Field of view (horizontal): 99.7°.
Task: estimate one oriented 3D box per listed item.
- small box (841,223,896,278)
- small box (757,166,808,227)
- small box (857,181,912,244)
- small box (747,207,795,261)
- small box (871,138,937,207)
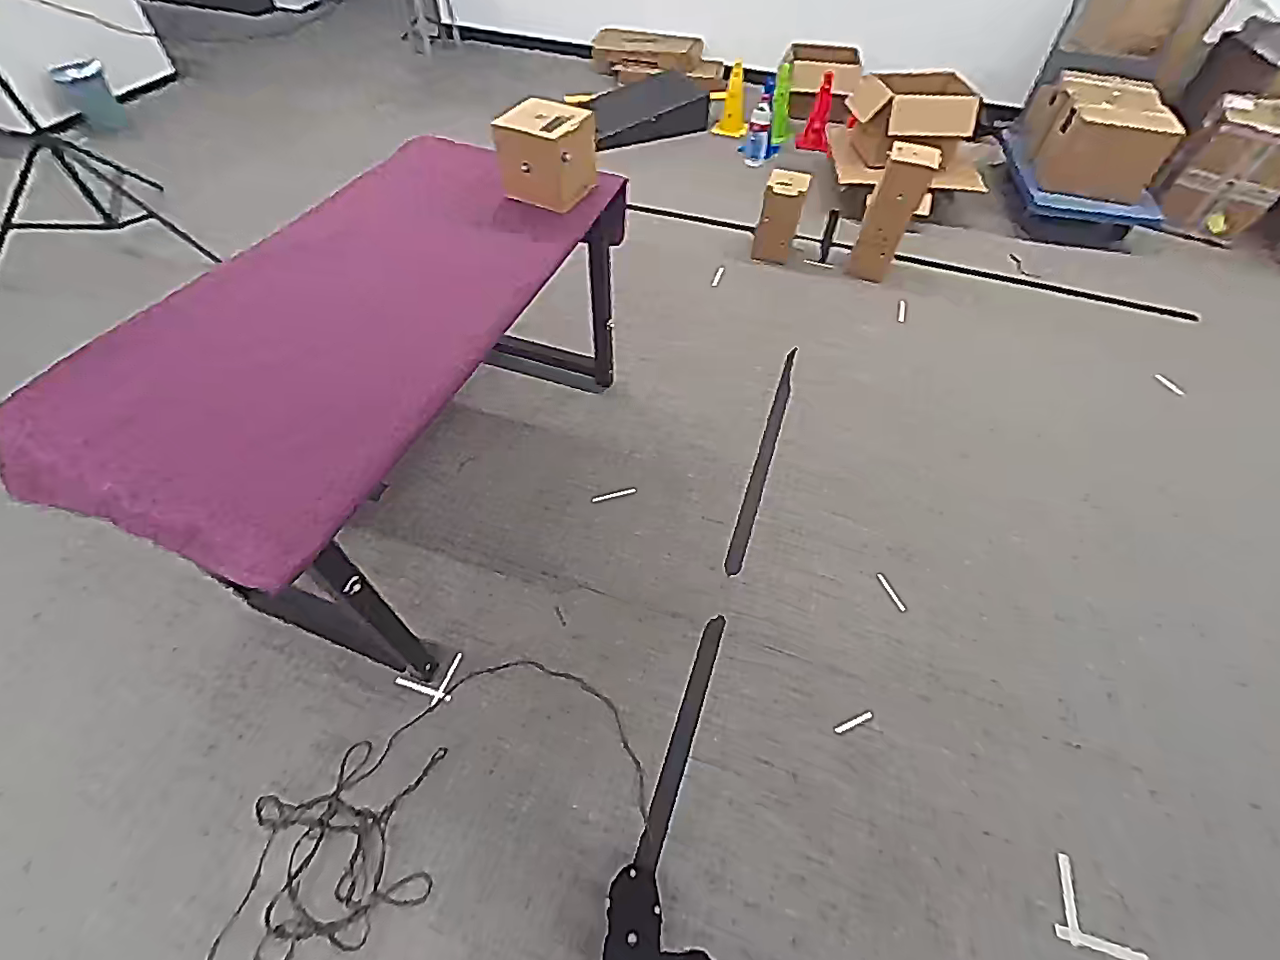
[{"bbox_3d":[1.025,-1.029,2.414,0.179,0.176,0.168,20,56,11],"label":"small box"},{"bbox_3d":[0.613,-1.222,2.336,0.168,0.176,0.179,17,54,10],"label":"small box"},{"bbox_3d":[1.034,-1.134,2.289,0.168,0.176,0.179,17,56,9],"label":"small box"},{"bbox_3d":[0.603,-1.128,2.471,0.179,0.176,0.168,14,54,9],"label":"small box"},{"bbox_3d":[1.048,-1.218,2.149,0.179,0.176,0.168,19,57,9],"label":"small box"}]
